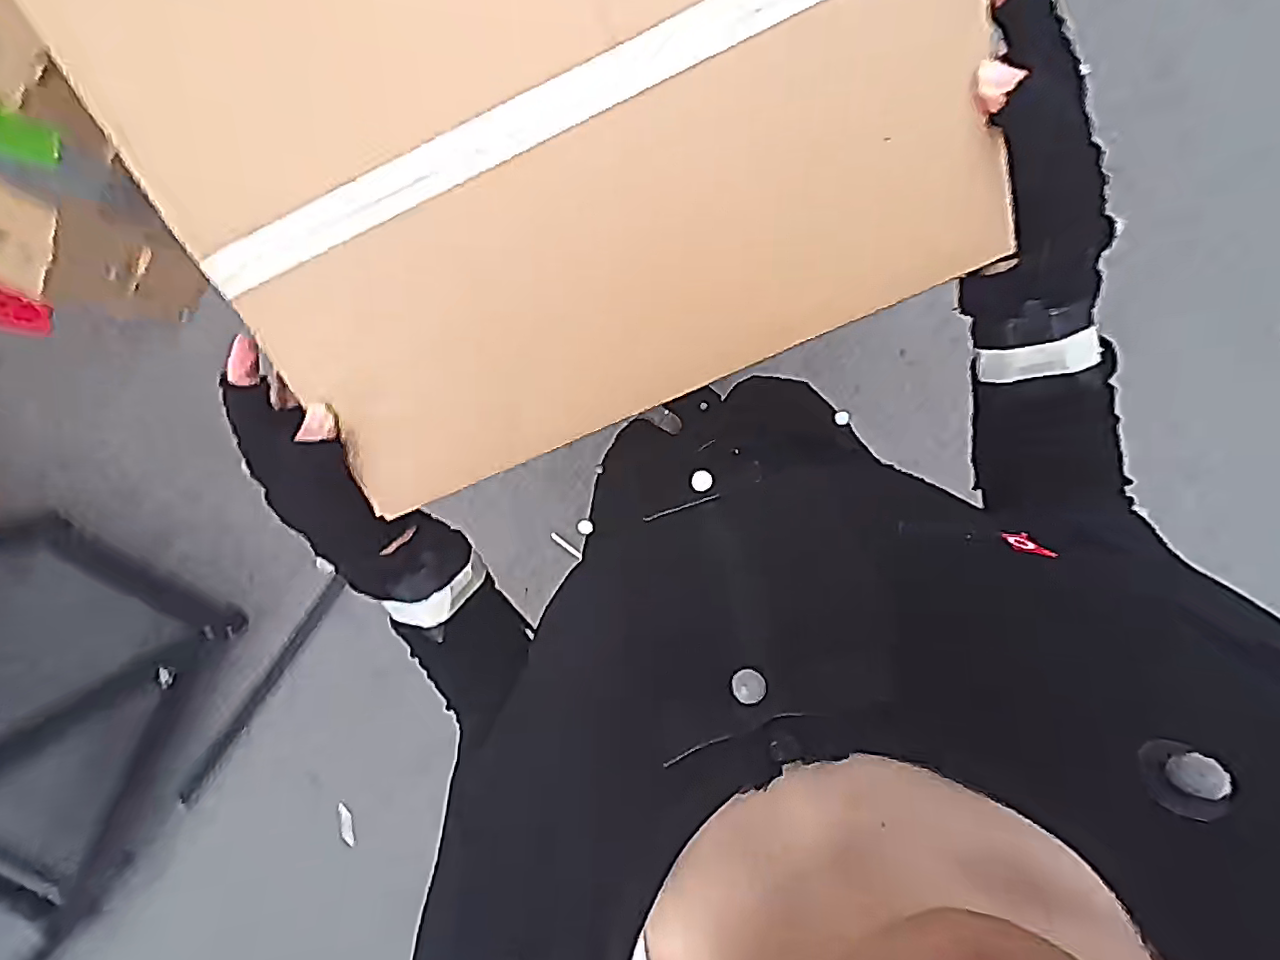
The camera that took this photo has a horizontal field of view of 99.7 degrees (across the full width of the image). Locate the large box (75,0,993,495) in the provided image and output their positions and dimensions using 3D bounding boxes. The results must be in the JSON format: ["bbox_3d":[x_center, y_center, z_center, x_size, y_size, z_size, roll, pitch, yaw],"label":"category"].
[{"bbox_3d":[-0.042,-0.246,0.417,0.408,0.320,0.320,-22,112,6],"label":"large box"}]
